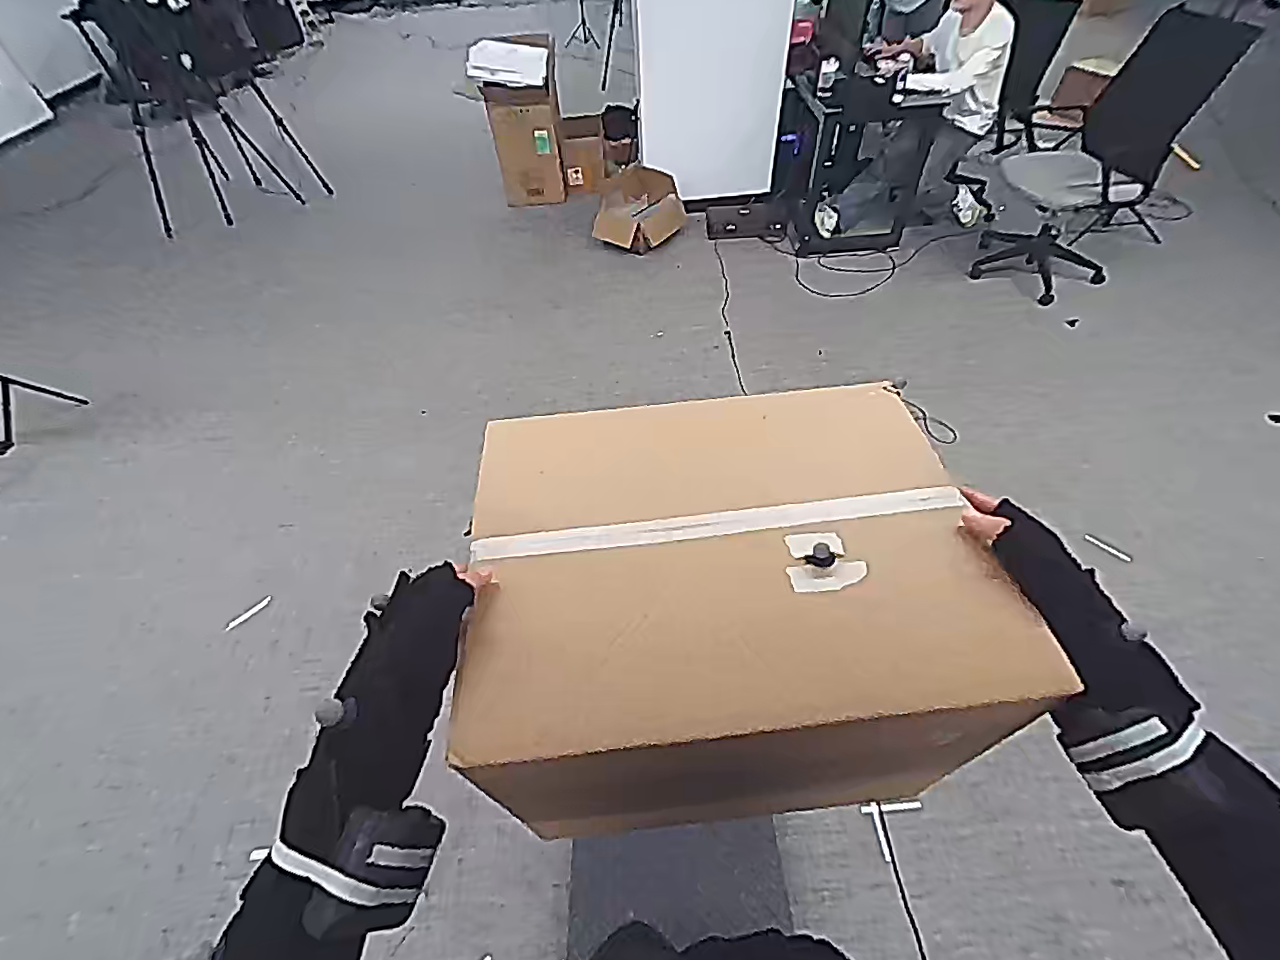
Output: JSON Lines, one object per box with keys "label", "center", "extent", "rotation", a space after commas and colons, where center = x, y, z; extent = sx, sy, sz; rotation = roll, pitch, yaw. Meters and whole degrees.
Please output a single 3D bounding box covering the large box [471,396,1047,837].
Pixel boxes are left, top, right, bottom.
{"label": "large box", "center": [0.072, 0.145, 0.568], "extent": [0.408, 0.320, 0.320], "rotation": [-6, 49, -2]}
